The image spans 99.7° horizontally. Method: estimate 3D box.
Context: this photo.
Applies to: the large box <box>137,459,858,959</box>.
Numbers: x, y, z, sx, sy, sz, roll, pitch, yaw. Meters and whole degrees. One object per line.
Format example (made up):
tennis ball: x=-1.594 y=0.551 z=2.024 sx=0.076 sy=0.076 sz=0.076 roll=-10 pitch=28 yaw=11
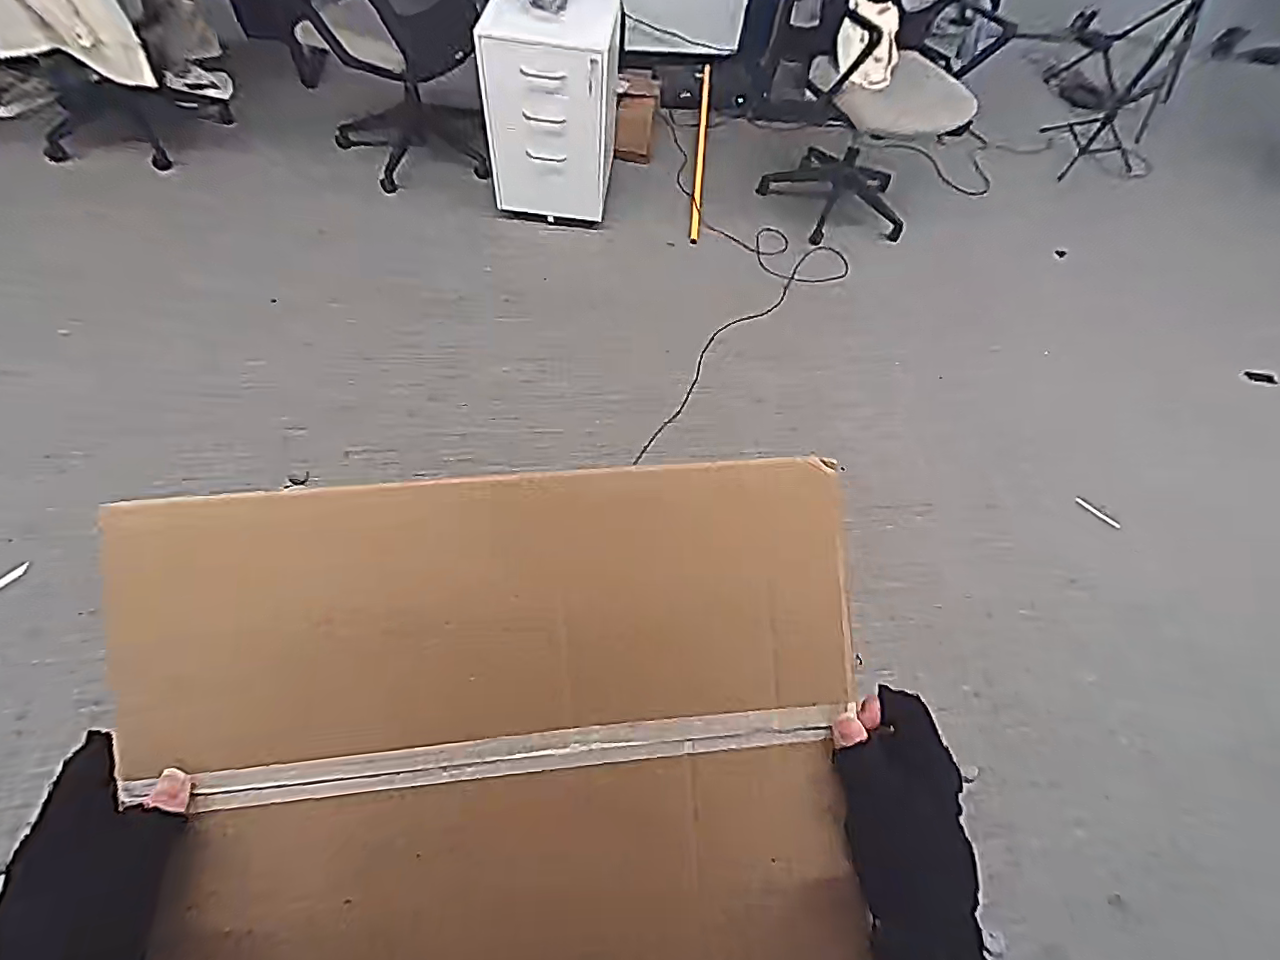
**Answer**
large box: x=-0.087 y=0.158 z=0.465 sx=0.408 sy=0.320 sz=0.320 roll=-4 pitch=90 yaw=-4
